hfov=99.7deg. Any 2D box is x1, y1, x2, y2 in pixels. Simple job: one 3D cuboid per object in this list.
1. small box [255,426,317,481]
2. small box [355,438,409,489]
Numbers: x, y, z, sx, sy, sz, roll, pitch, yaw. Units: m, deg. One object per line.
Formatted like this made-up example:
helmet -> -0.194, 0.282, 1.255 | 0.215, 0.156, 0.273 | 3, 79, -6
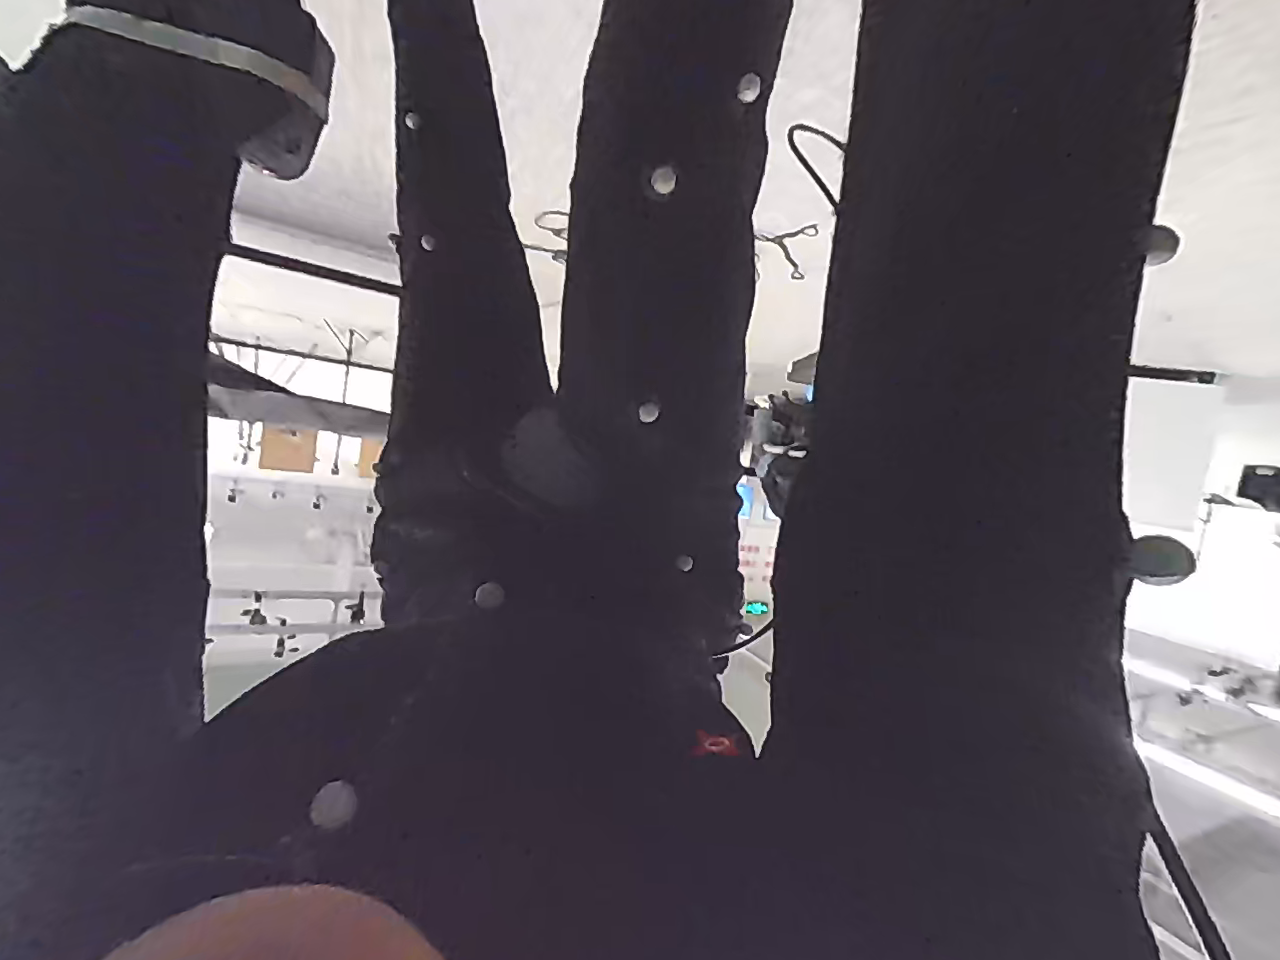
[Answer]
small box -> -1.250, -0.098, 1.915 | 0.168, 0.176, 0.179 | 6, -176, -30
small box -> -0.991, -0.067, 2.073 | 0.168, 0.176, 0.179 | 7, -175, -30
